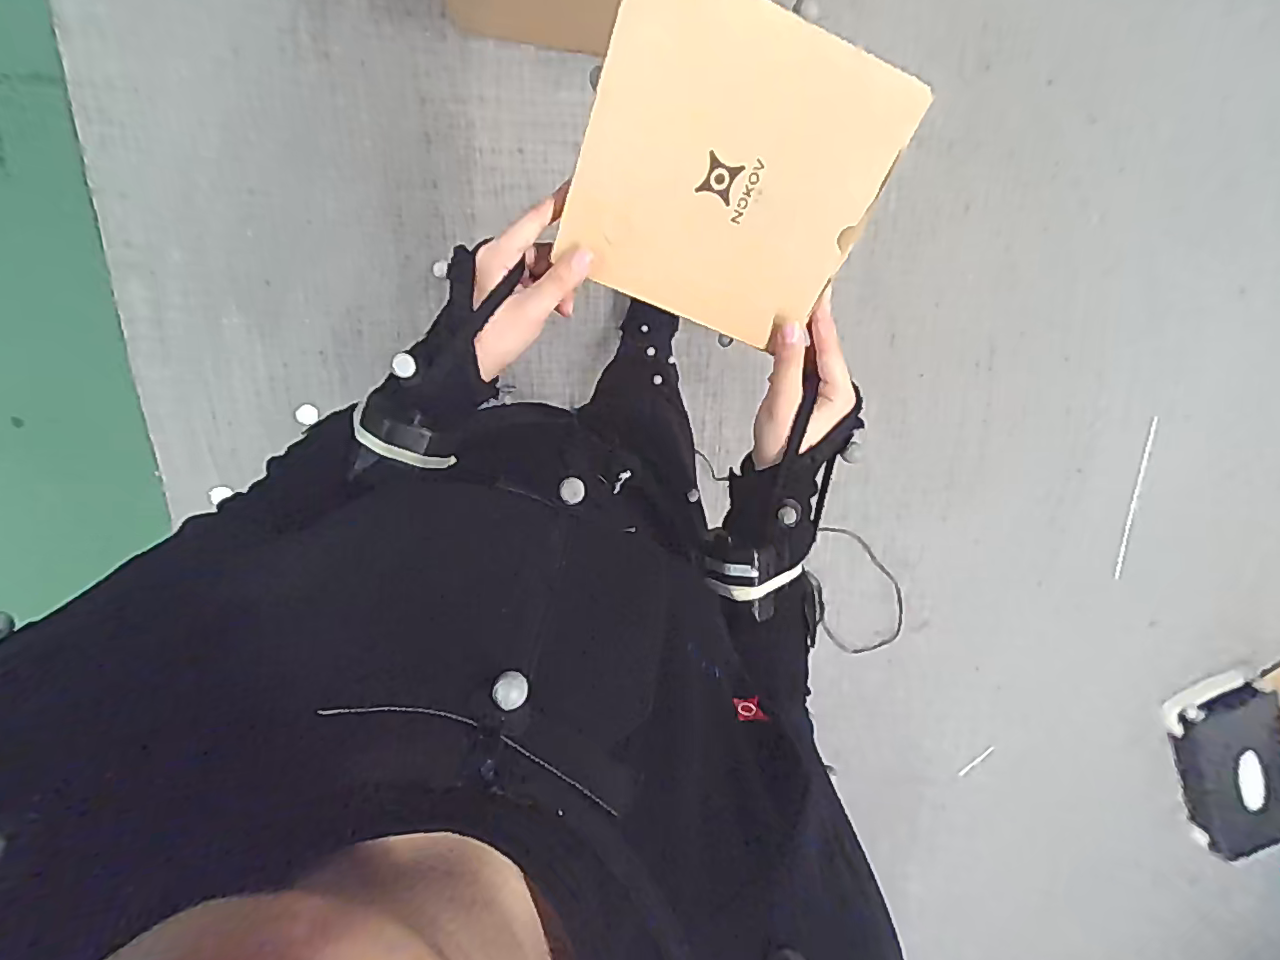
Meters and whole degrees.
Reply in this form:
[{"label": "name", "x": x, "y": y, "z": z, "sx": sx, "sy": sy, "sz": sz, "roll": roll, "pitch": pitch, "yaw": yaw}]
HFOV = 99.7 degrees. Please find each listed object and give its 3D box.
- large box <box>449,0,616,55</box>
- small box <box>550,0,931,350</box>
[{"label": "large box", "x": -0.137, "y": -0.991, "z": 0.928, "sx": 0.408, "sy": 0.320, "sz": 0.320, "roll": 4, "pitch": 106, "yaw": -8}, {"label": "small box", "x": 0.053, "y": -0.221, "z": 0.387, "sx": 0.179, "sy": 0.176, "sz": 0.168, "roll": 18, "pitch": 121, "yaw": -10}]
